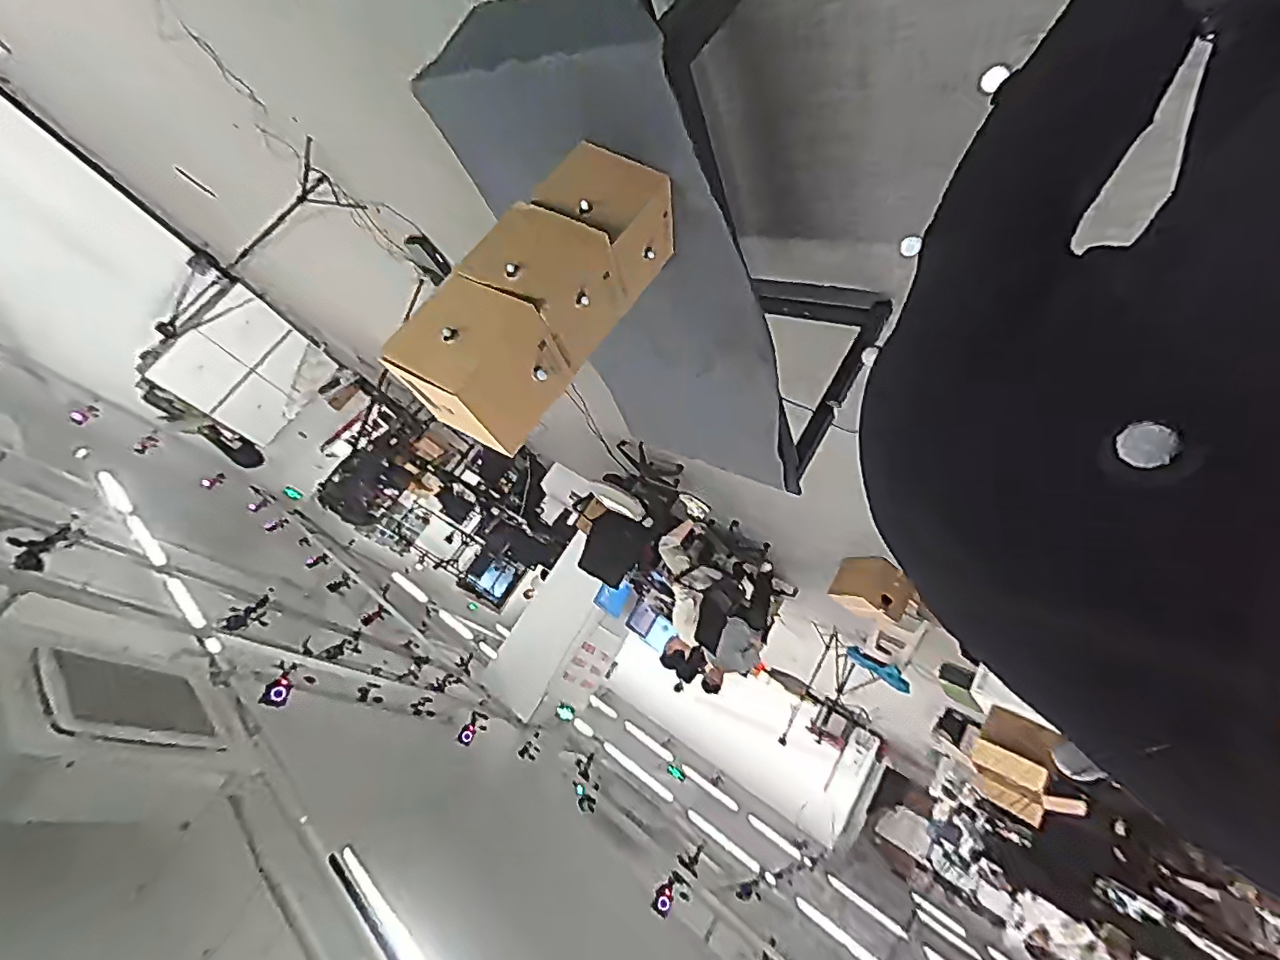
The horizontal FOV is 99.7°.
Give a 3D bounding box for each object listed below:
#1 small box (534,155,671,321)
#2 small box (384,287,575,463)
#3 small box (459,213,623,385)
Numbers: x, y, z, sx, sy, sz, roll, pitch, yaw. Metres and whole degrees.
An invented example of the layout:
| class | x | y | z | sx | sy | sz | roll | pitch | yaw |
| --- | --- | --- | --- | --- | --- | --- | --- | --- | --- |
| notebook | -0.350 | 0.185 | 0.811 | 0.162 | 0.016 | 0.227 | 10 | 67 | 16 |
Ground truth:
| class | x | y | z | sx | sy | sz | roll | pitch | yaw |
| --- | --- | --- | --- | --- | --- | --- | --- | --- | --- |
| small box | -0.056 | -0.414 | 0.926 | 0.179 | 0.176 | 0.168 | 31 | 165 | 15 |
| small box | -0.230 | -0.161 | 0.813 | 0.179 | 0.176 | 0.168 | 26 | 163 | 26 |
| small box | -0.143 | -0.290 | 0.864 | 0.179 | 0.176 | 0.168 | 30 | 164 | 20 |
